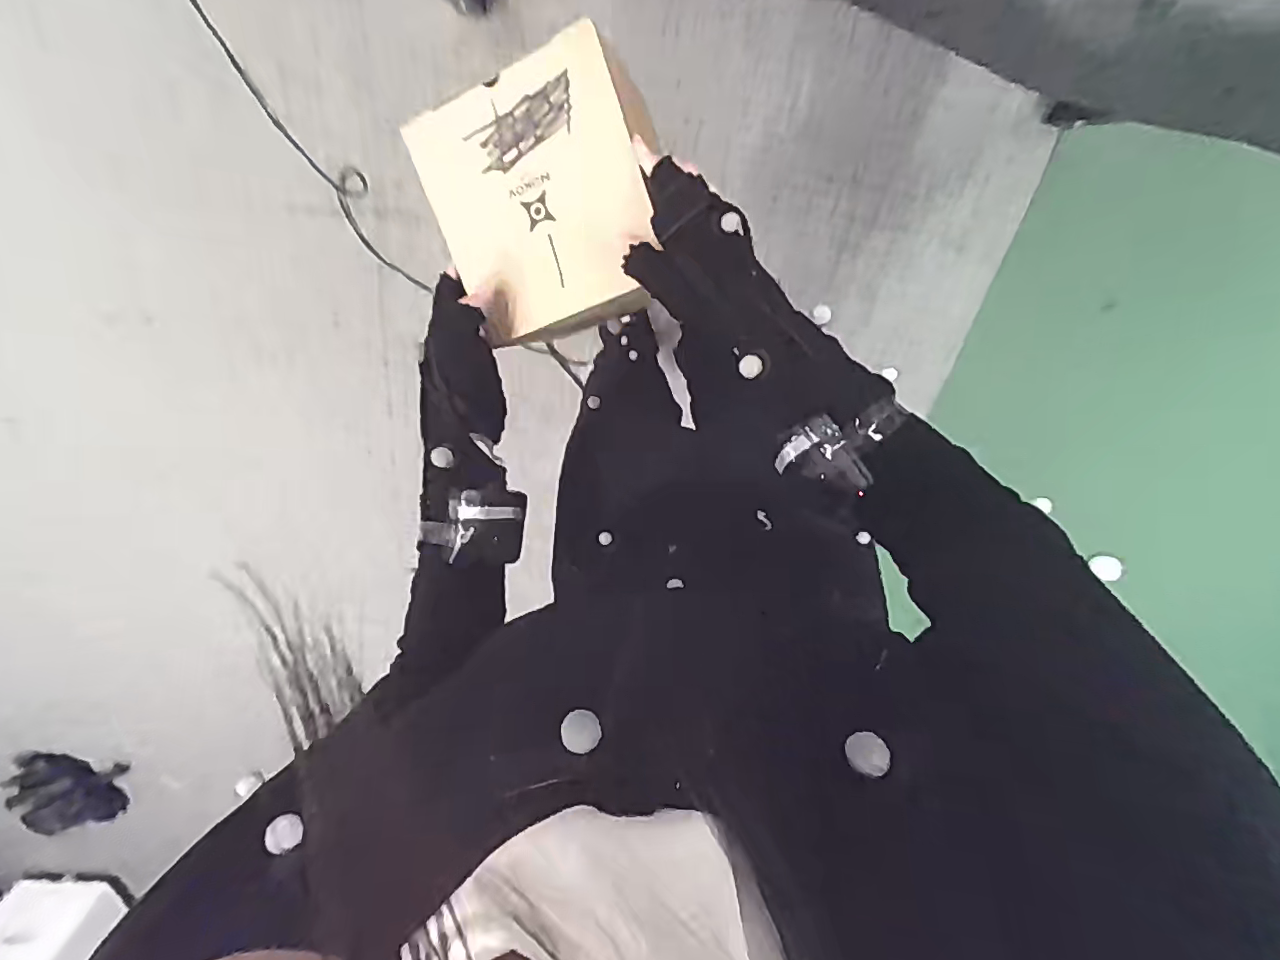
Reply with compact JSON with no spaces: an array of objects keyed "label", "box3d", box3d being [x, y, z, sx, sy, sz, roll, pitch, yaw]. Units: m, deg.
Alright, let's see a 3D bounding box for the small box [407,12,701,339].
[{"label":"small box","box3d":[-0.056,-0.232,0.470,0.168,0.176,0.179,-15,102,18]}]
